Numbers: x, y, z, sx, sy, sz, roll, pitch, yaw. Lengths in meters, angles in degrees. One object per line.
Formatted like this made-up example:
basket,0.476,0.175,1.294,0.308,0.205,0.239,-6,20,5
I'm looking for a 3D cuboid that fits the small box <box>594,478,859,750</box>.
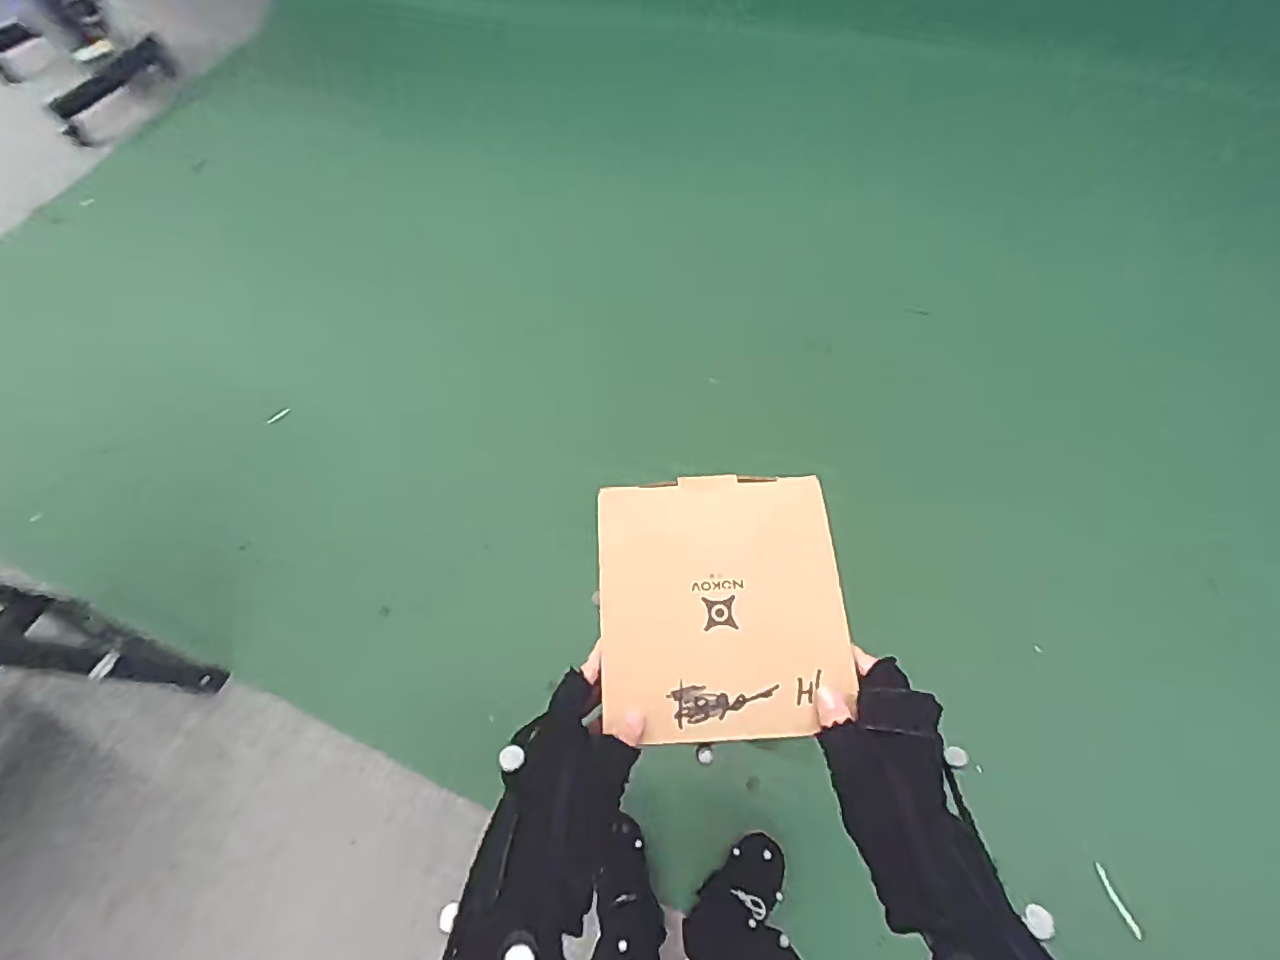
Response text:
small box,0.051,0.112,0.437,0.168,0.176,0.179,-3,69,0
